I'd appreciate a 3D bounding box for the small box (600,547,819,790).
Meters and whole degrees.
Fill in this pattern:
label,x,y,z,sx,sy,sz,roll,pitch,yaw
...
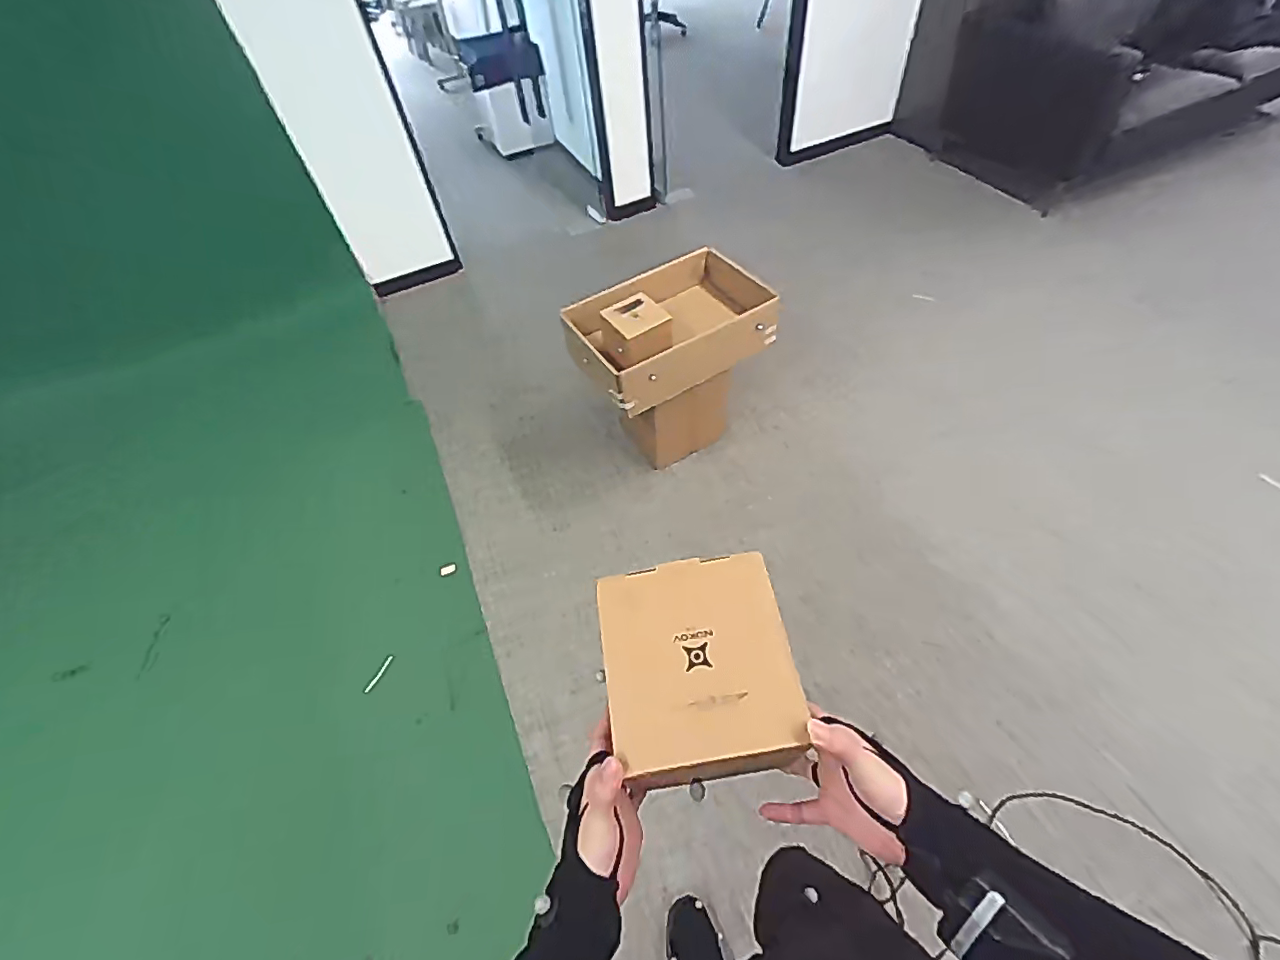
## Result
label,x,y,z,sx,sy,sz,roll,pitch,yaw
small box,0.056,0.189,0.533,0.168,0.176,0.179,-8,56,0
